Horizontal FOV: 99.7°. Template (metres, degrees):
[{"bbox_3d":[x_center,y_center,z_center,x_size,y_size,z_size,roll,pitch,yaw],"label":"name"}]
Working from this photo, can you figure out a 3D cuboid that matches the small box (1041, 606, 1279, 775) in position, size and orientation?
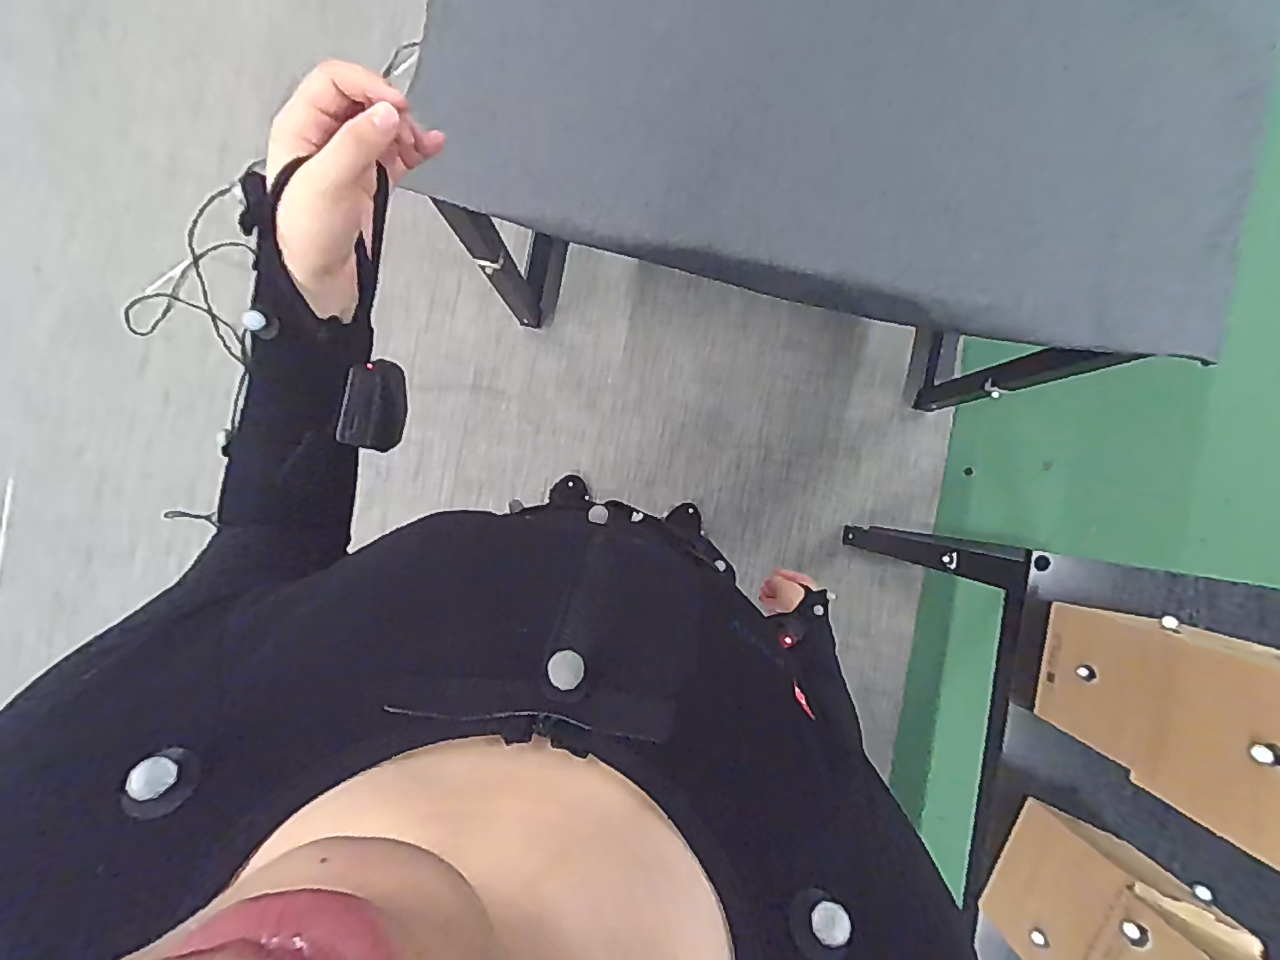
[{"bbox_3d":[0.661,0.266,0.687,0.179,0.176,0.168,9,91,0],"label":"small box"}]

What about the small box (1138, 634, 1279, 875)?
[{"bbox_3d":[0.644,0.269,0.525,0.168,0.176,0.179,9,89,0],"label":"small box"}]

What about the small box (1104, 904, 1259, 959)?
[{"bbox_3d":[0.585,0.568,0.521,0.179,0.176,0.168,28,90,-1],"label":"small box"}]
